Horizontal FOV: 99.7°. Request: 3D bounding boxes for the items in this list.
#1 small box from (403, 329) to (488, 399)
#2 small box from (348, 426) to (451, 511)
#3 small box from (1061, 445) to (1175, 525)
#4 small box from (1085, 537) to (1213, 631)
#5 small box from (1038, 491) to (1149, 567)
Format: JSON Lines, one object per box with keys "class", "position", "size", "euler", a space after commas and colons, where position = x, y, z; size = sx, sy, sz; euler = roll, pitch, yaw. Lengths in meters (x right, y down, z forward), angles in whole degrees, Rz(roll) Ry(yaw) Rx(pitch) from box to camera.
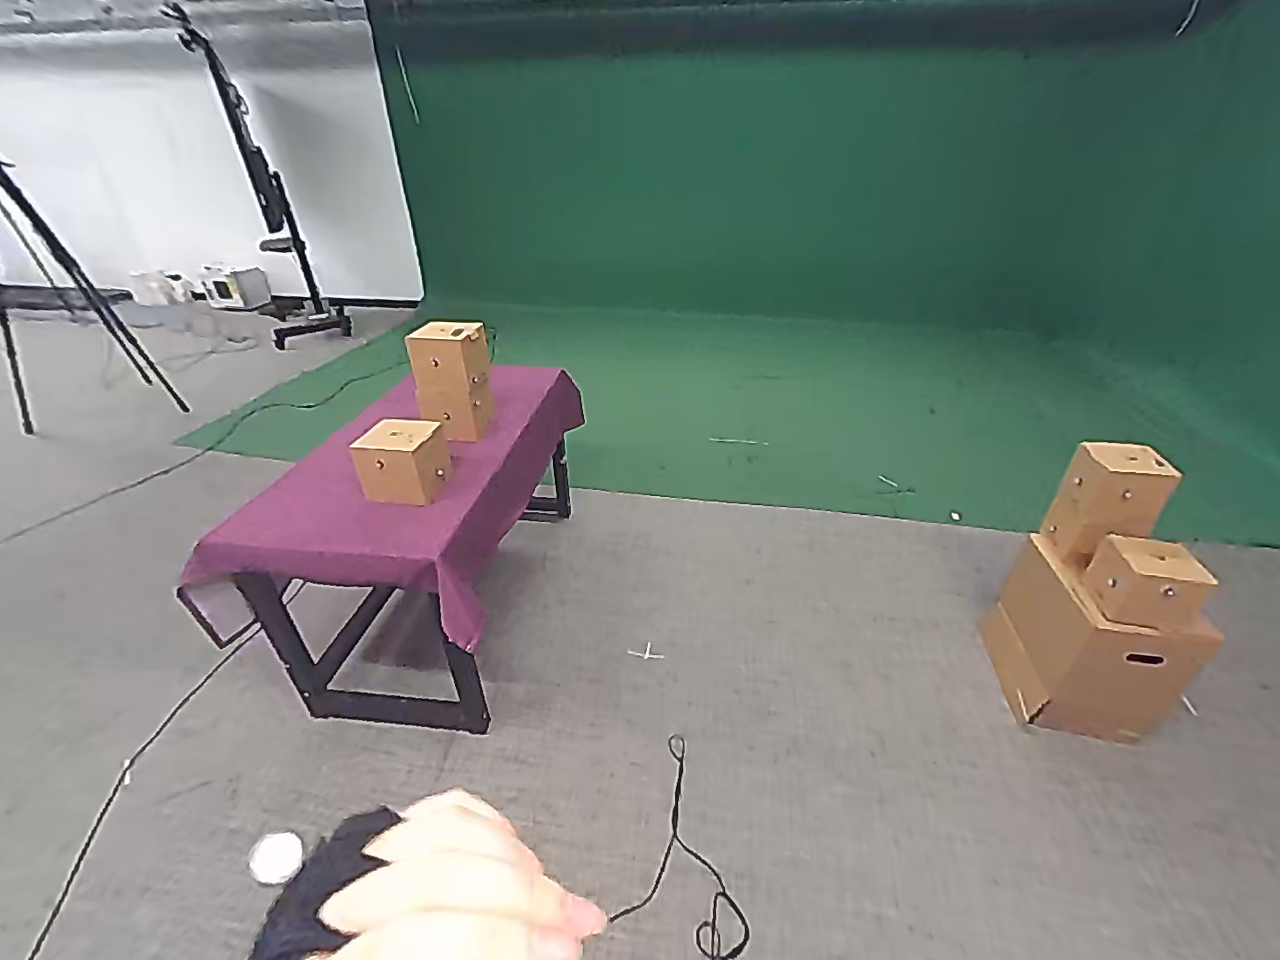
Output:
{"class": "small box", "position": [-0.588, -0.358, 1.666], "size": [0.179, 0.176, 0.168], "euler": [3, 32, 9]}
{"class": "small box", "position": [-0.636, -0.032, 1.452], "size": [0.179, 0.176, 0.168], "euler": [4, 32, 7]}
{"class": "small box", "position": [1.348, 0.014, 1.547], "size": [0.179, 0.176, 0.168], "euler": [4, 33, 11]}
{"class": "small box", "position": [1.328, 0.276, 1.433], "size": [0.179, 0.176, 0.168], "euler": [7, 32, 11]}
{"class": "small box", "position": [1.358, 0.153, 1.634], "size": [0.179, 0.176, 0.168], "euler": [4, 33, 10]}
